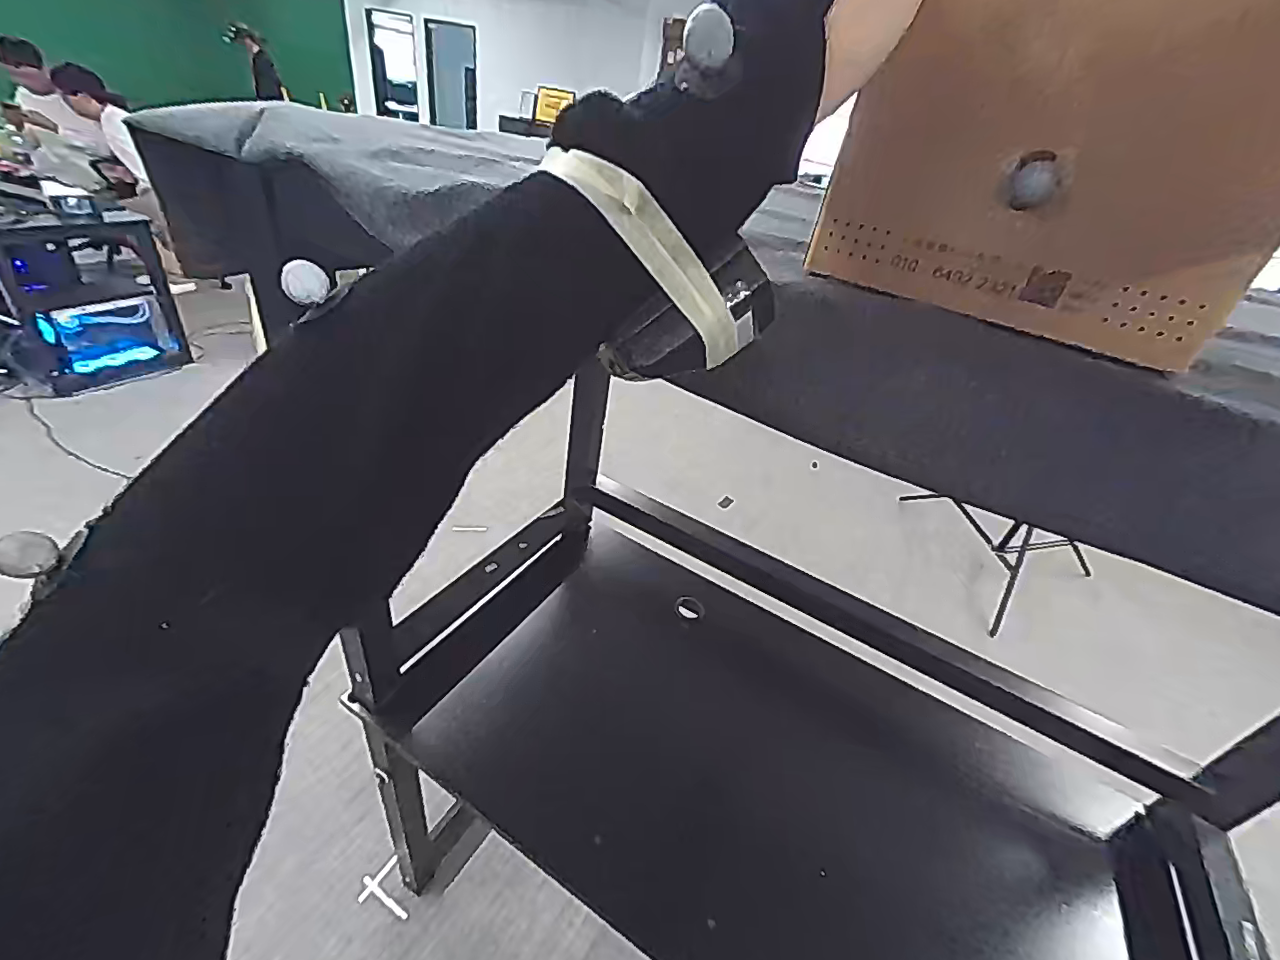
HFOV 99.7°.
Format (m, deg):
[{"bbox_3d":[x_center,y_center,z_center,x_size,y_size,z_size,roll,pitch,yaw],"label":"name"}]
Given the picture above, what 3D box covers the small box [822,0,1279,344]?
[{"bbox_3d":[0.210,-0.183,0.267,0.168,0.176,0.179,25,35,21],"label":"small box"}]
